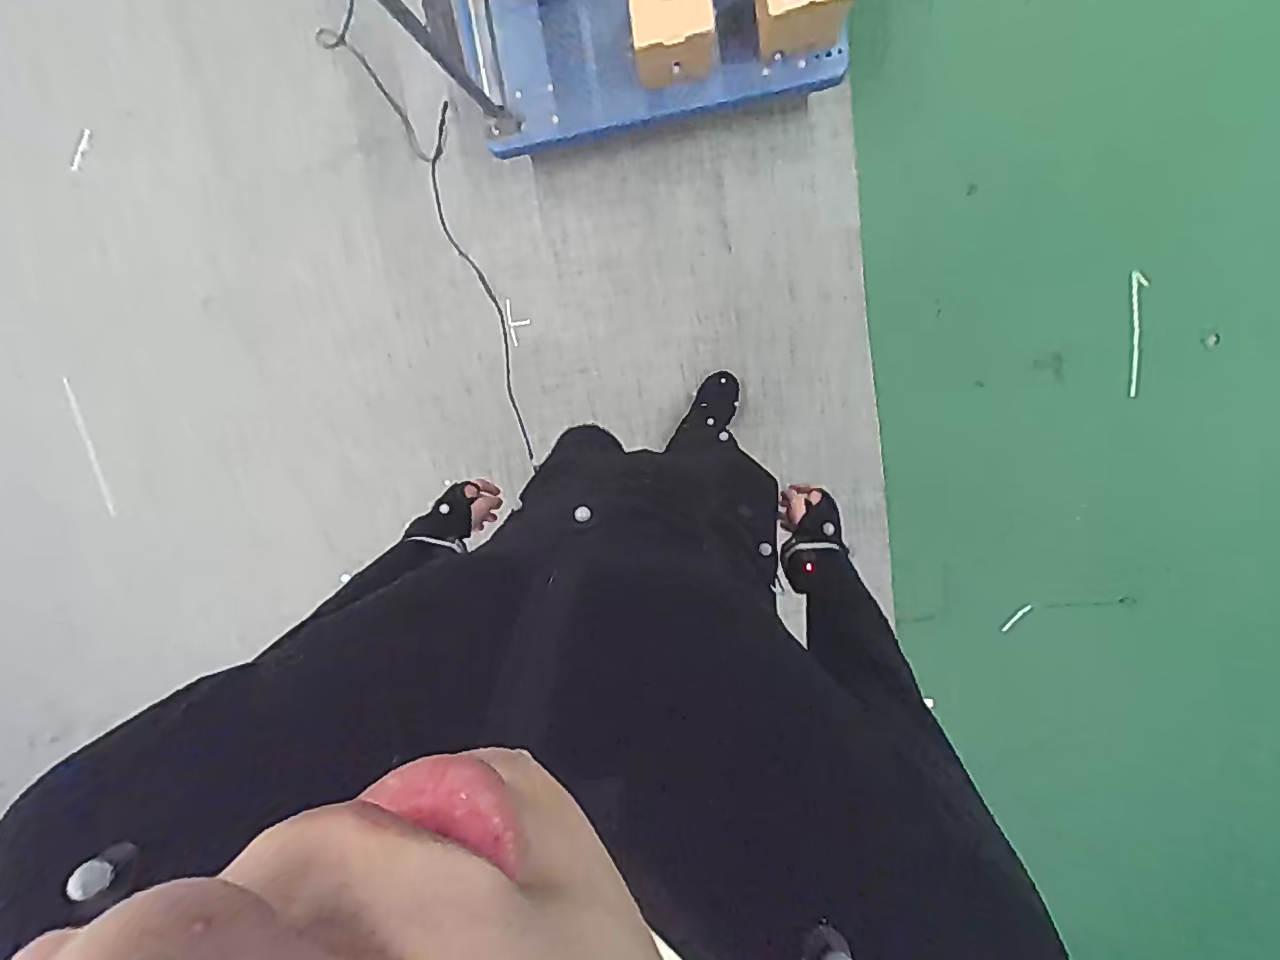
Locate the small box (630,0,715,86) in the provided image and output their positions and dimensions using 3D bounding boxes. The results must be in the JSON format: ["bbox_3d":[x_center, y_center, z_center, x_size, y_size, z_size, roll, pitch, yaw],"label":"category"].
[{"bbox_3d":[0.072,-0.981,1.156,0.168,0.176,0.179,-6,101,7],"label":"small box"}]

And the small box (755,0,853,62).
[{"bbox_3d":[0.337,-1.020,1.133,0.168,0.176,0.179,-8,100,8],"label":"small box"}]
